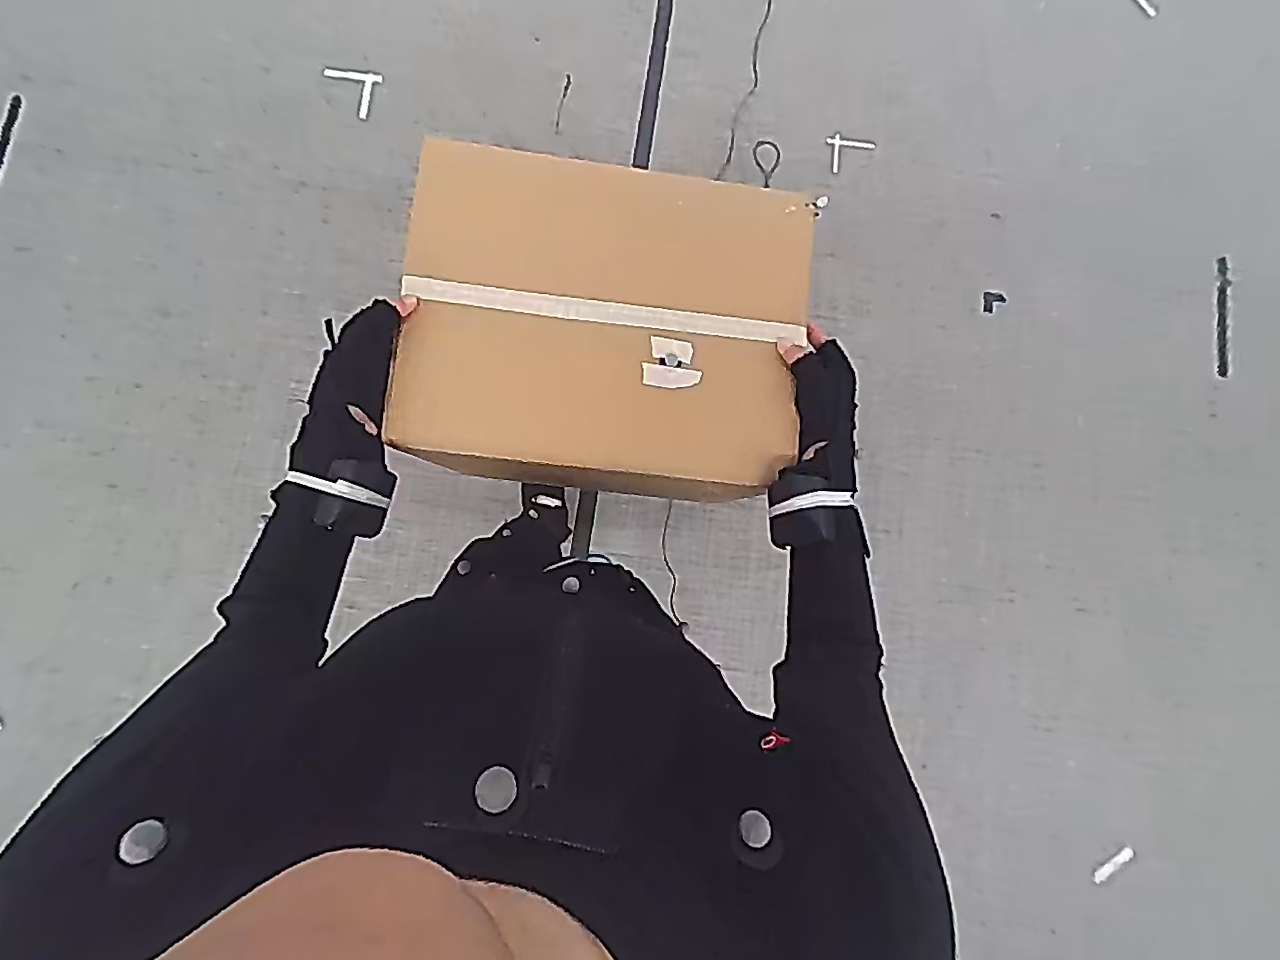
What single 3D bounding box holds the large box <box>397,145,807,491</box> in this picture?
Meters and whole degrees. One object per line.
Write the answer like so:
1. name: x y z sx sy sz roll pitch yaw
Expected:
1. large box: -0.044 -0.164 0.704 0.408 0.320 0.320 7 86 -5
